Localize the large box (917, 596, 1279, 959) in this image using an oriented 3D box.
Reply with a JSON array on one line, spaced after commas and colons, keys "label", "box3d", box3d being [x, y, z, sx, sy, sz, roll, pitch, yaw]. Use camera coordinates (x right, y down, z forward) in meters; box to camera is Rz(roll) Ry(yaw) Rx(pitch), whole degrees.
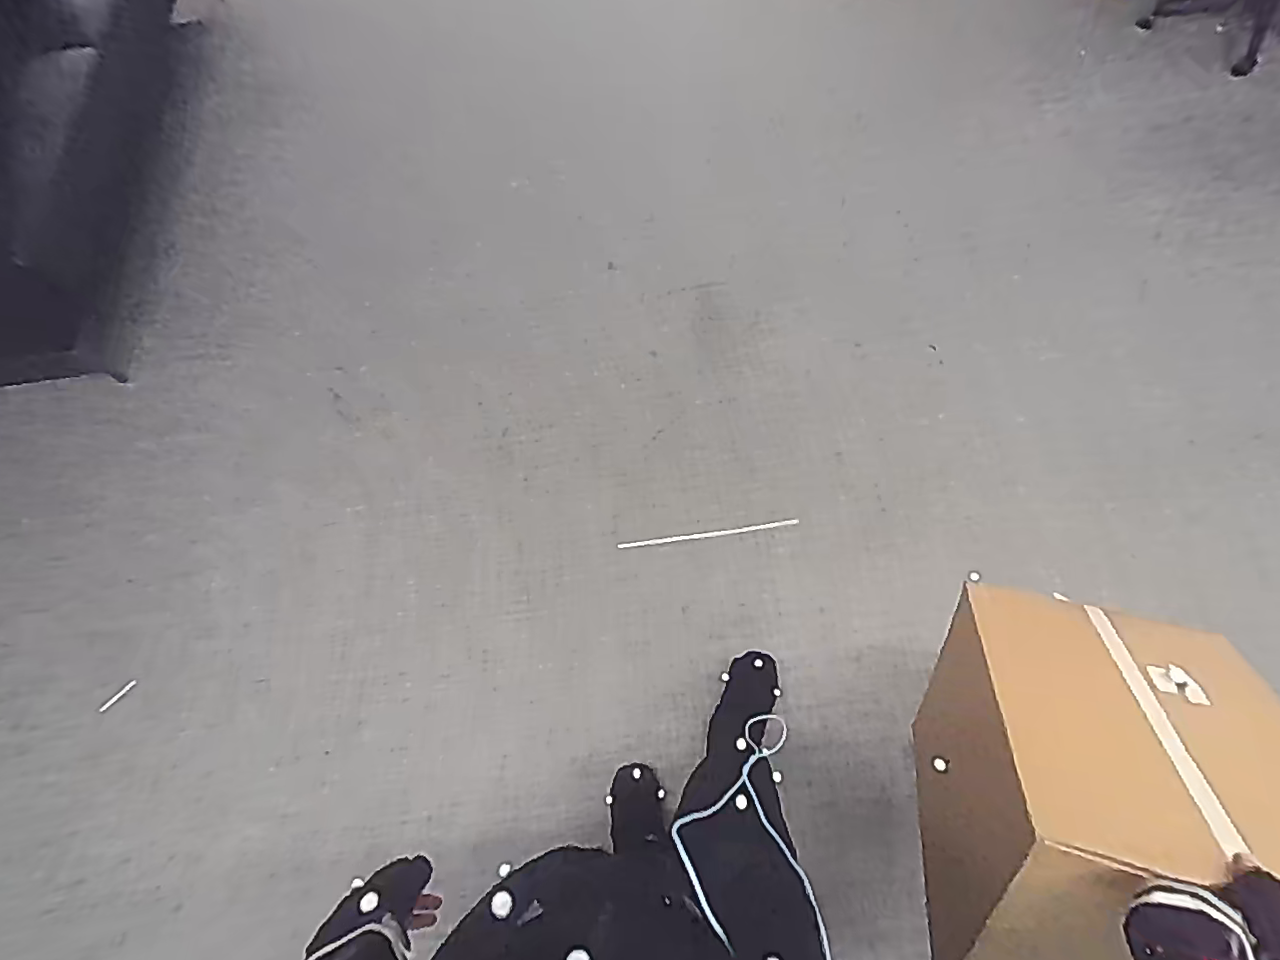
[{"label": "large box", "box3d": [0.554, 0.410, 0.659, 0.320, 0.320, 0.408, 12, 27, 17]}]
